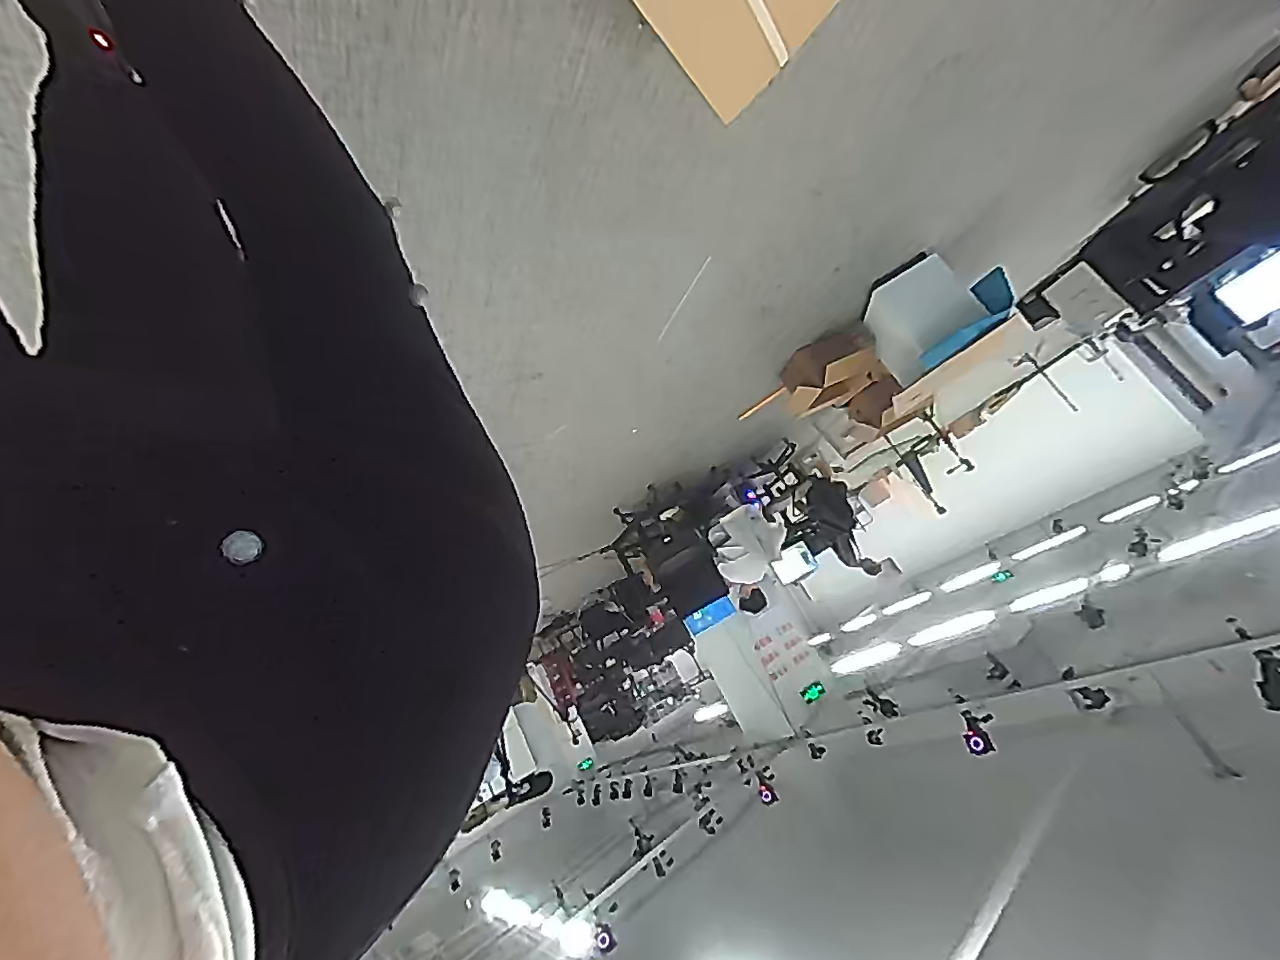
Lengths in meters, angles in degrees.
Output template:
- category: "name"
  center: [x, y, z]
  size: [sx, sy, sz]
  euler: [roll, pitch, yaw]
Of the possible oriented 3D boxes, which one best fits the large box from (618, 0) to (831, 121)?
- category: "large box"
  center: [0.104, -0.991, 1.001]
  size: [0.320, 0.320, 0.408]
  euler: [-39, 160, 27]
